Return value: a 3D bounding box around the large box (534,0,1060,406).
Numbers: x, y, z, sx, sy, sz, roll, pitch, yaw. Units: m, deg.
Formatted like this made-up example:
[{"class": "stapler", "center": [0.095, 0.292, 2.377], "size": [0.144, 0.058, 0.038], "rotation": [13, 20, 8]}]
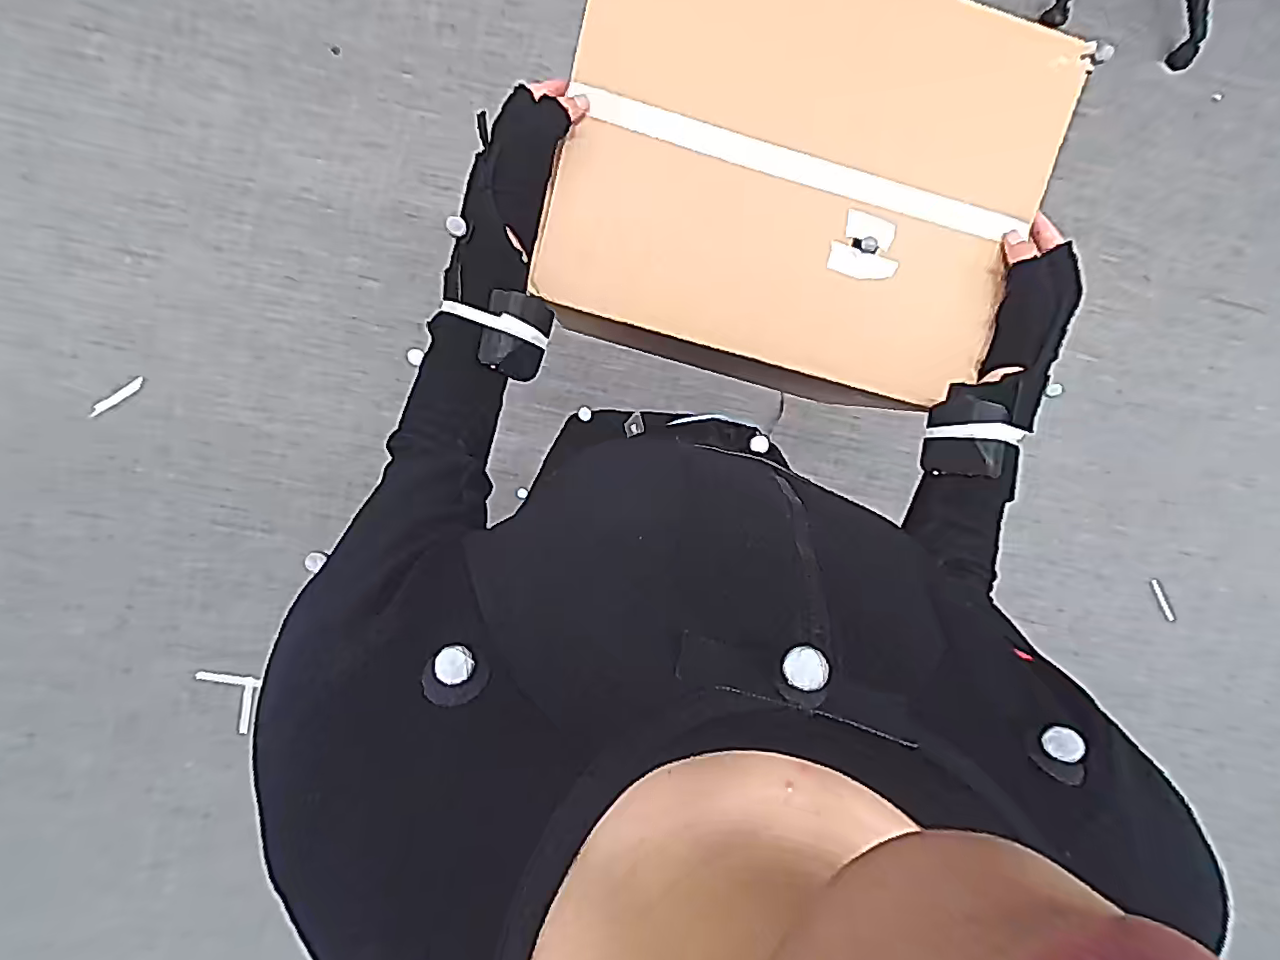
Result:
[{"class": "large box", "center": [0.122, -0.285, 0.610], "size": [0.408, 0.320, 0.320], "rotation": [14, 100, -6]}]
